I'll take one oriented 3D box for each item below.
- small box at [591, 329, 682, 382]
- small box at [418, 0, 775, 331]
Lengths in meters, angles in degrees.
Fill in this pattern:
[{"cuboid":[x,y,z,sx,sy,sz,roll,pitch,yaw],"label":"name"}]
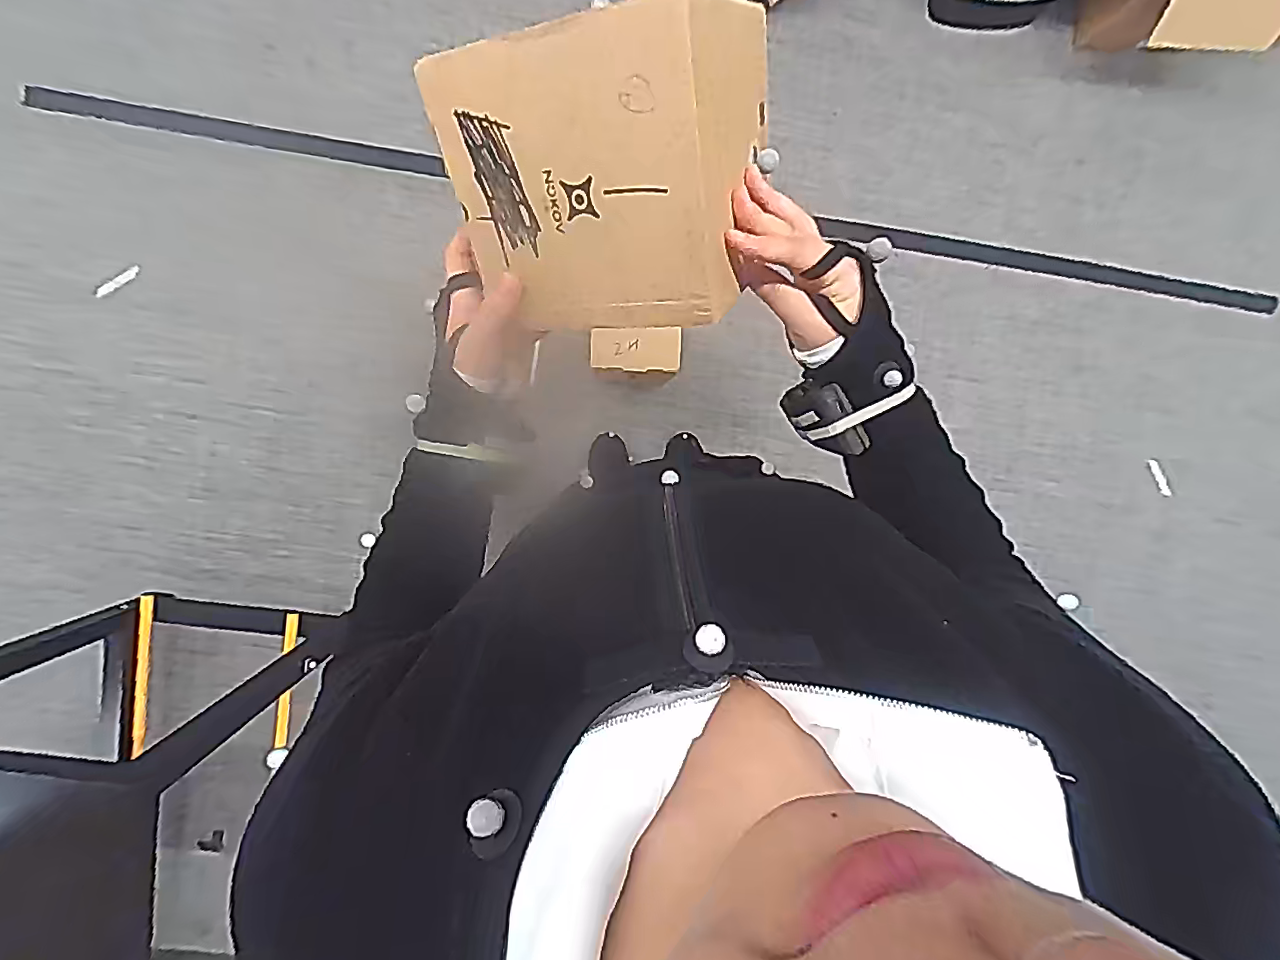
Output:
[{"cuboid":[-0.006,-0.291,1.055,0.168,0.176,0.179,2,96,-1],"label":"small box"},{"cuboid":[-0.010,-0.216,0.385,0.179,0.176,0.168,6,128,24],"label":"small box"}]
